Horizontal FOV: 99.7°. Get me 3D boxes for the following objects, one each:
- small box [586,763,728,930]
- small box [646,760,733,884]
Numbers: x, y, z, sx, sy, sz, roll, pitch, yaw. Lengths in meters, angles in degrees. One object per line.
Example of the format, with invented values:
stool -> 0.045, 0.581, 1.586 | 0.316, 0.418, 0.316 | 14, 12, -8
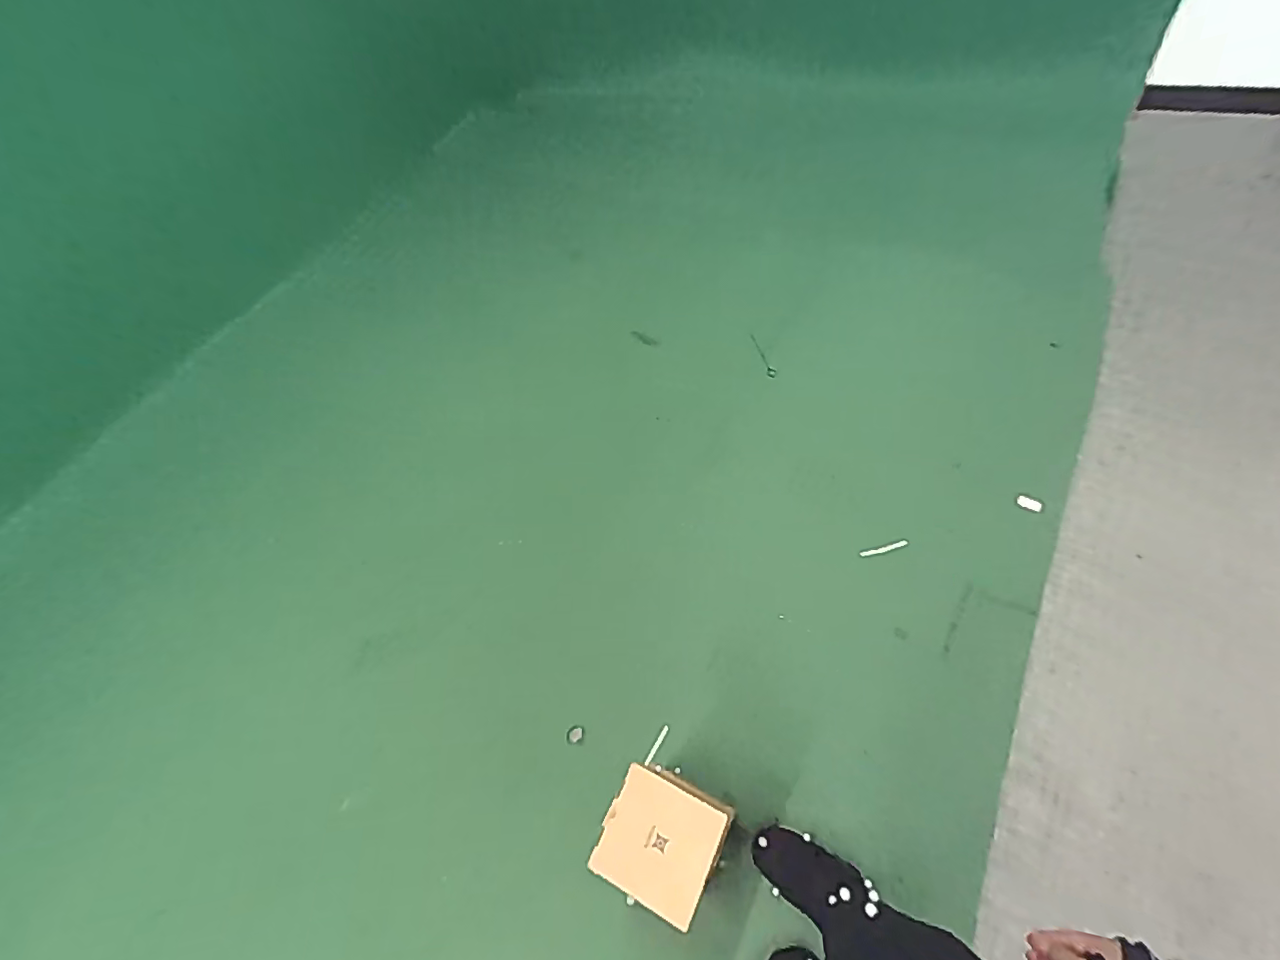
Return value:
small box -> 0.041, 0.604, 0.916 | 0.179, 0.176, 0.168 | 18, 66, 22
small box -> 0.071, 0.677, 1.058 | 0.179, 0.176, 0.168 | 20, 66, 21
